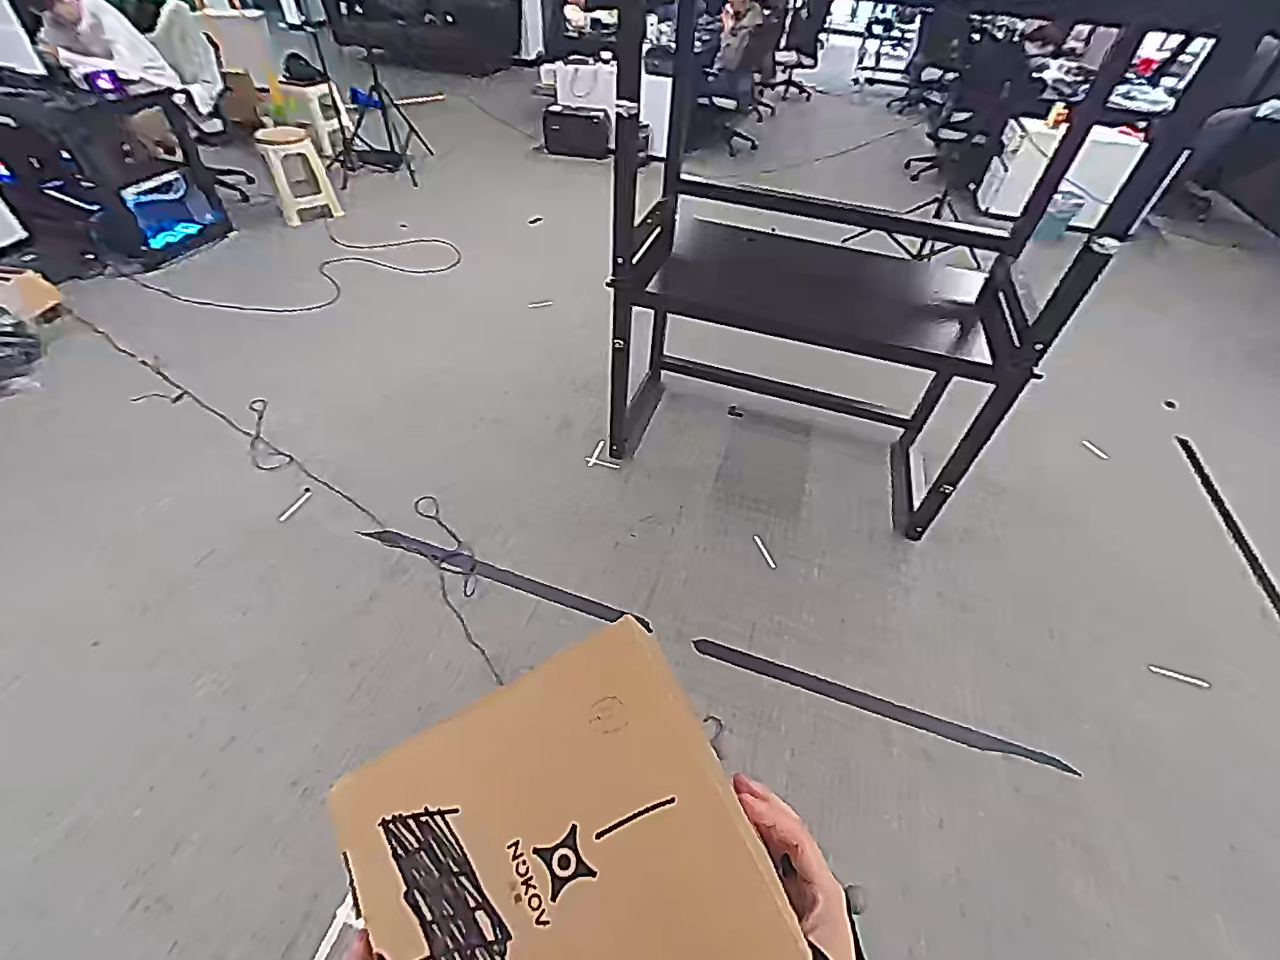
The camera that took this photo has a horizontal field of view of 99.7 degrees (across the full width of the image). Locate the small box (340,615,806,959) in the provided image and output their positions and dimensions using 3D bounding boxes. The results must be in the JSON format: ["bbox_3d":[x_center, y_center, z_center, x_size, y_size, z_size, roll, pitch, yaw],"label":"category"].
[{"bbox_3d":[-0.031,0.205,0.323,0.179,0.176,0.168,-29,69,-5],"label":"small box"}]
